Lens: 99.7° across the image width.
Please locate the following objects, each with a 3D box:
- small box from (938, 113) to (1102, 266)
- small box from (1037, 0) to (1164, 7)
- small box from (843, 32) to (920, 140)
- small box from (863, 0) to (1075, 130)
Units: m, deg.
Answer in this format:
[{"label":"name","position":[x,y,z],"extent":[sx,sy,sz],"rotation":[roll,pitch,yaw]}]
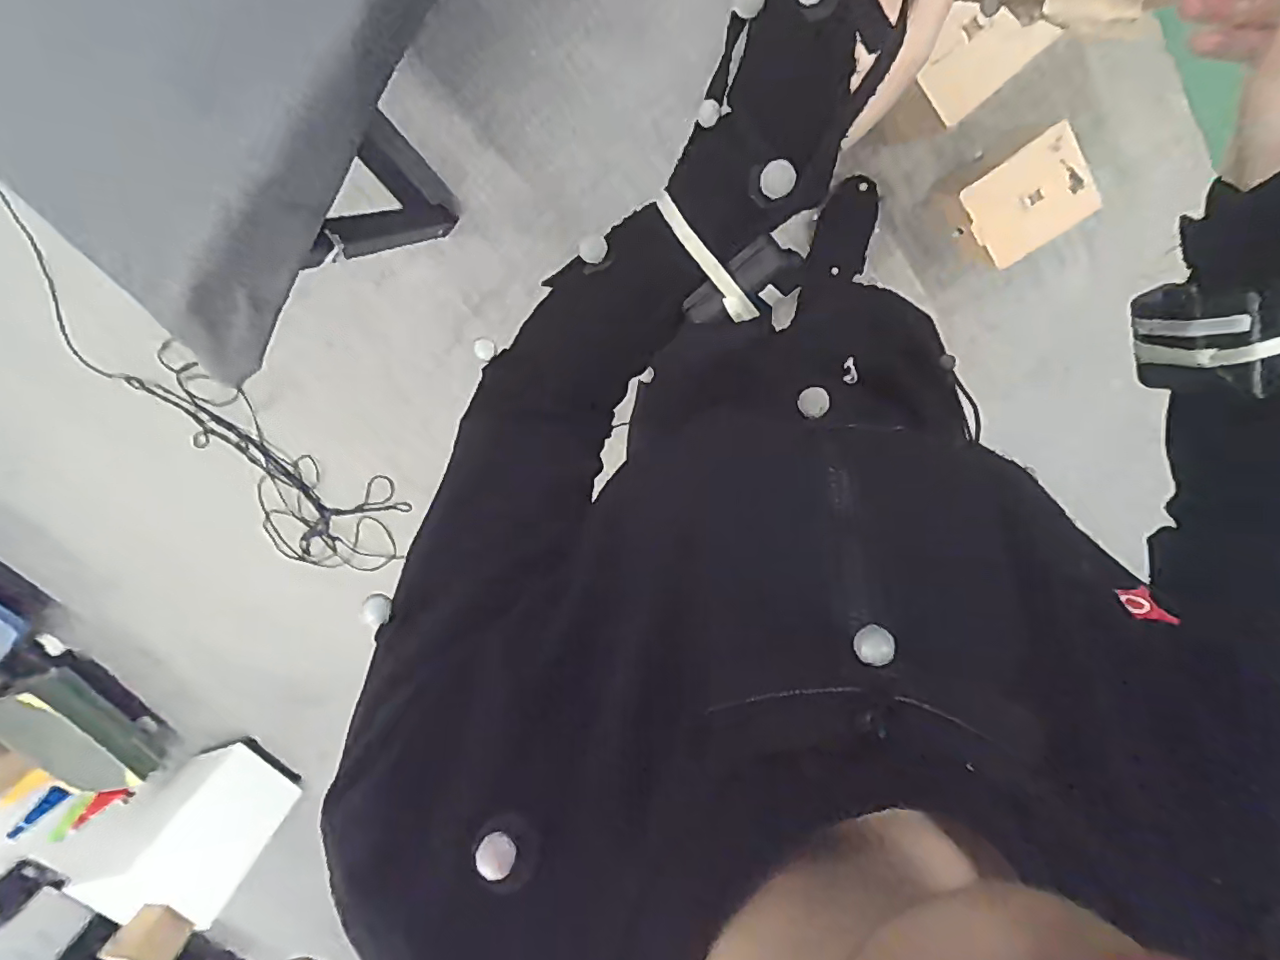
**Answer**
[{"label":"small box","position":[0.672,-0.524,0.983],"extent":[0.179,0.176,0.168],"rotation":[-32,110,26]},{"label":"small box","position":[0.234,-0.341,0.242],"extent":[0.168,0.176,0.179],"rotation":[9,129,2]},{"label":"small box","position":[0.469,-0.711,0.911],"extent":[0.179,0.176,0.168],"rotation":[-38,106,27]},{"label":"small box","position":[0.447,-0.636,0.767],"extent":[0.179,0.176,0.168],"rotation":[-38,106,27]}]
